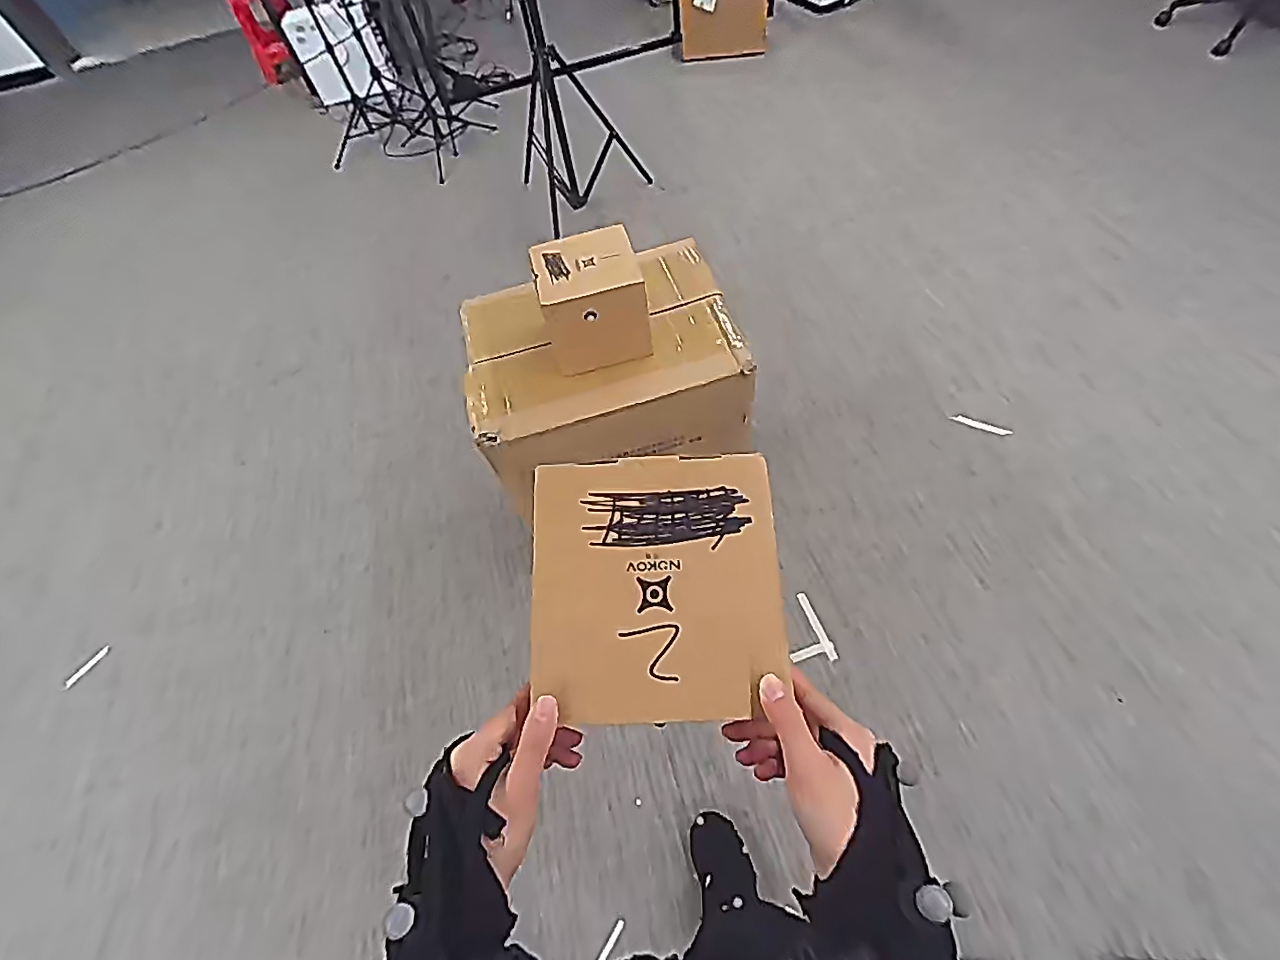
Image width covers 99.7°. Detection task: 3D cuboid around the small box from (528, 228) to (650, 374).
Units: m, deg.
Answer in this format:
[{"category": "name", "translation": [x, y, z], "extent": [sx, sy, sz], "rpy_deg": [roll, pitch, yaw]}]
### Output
[{"category": "small box", "translation": [-0.089, -0.318, 0.984], "extent": [0.179, 0.176, 0.168], "rpy_deg": [-15, 58, -2]}]
